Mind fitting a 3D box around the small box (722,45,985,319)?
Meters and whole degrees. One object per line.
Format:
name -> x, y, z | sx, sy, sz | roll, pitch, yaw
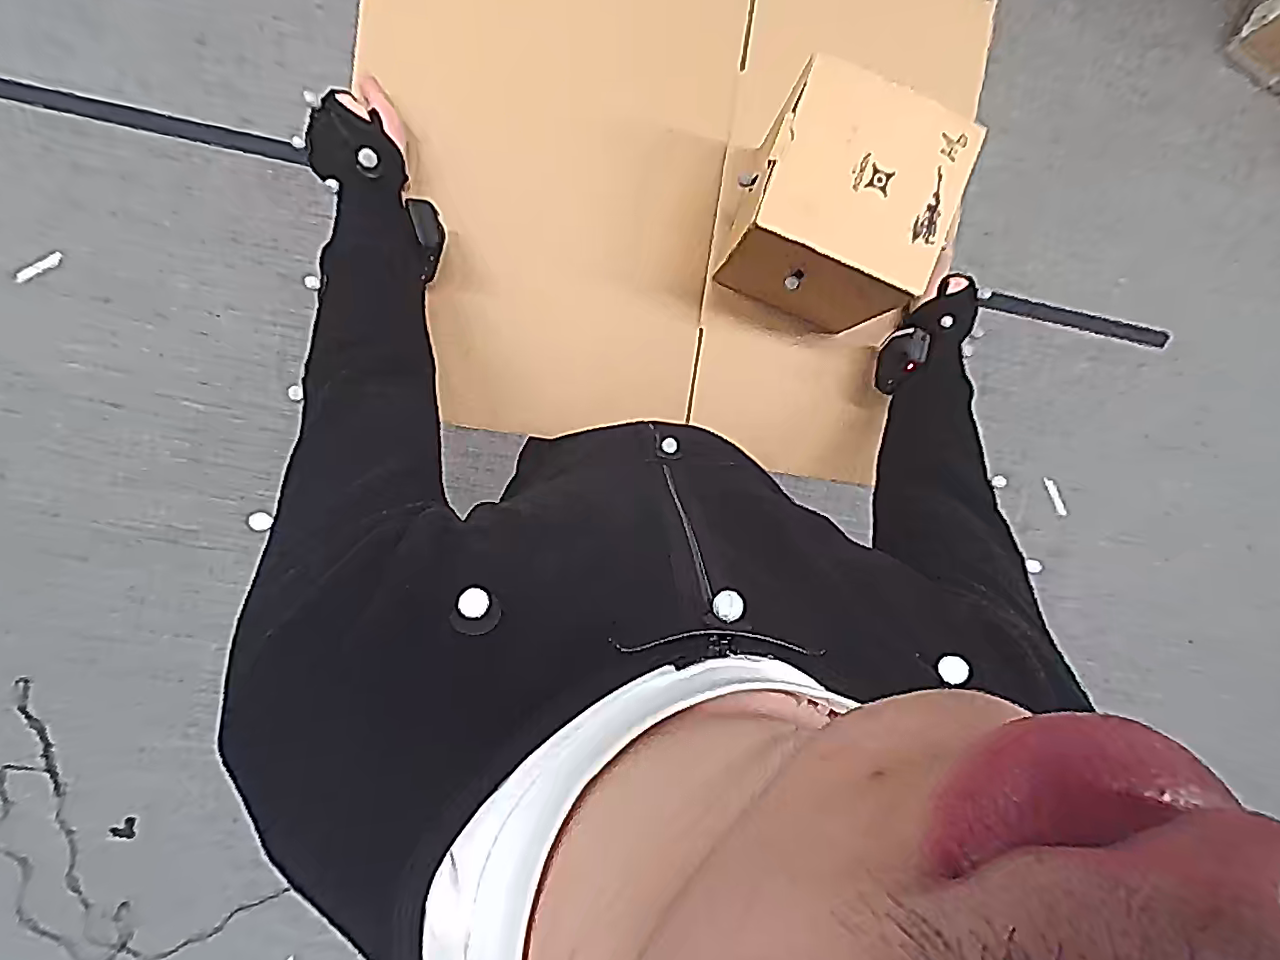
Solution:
small box -> 0.204, -0.290, 0.572 | 0.179, 0.176, 0.168 | 21, 92, -5
